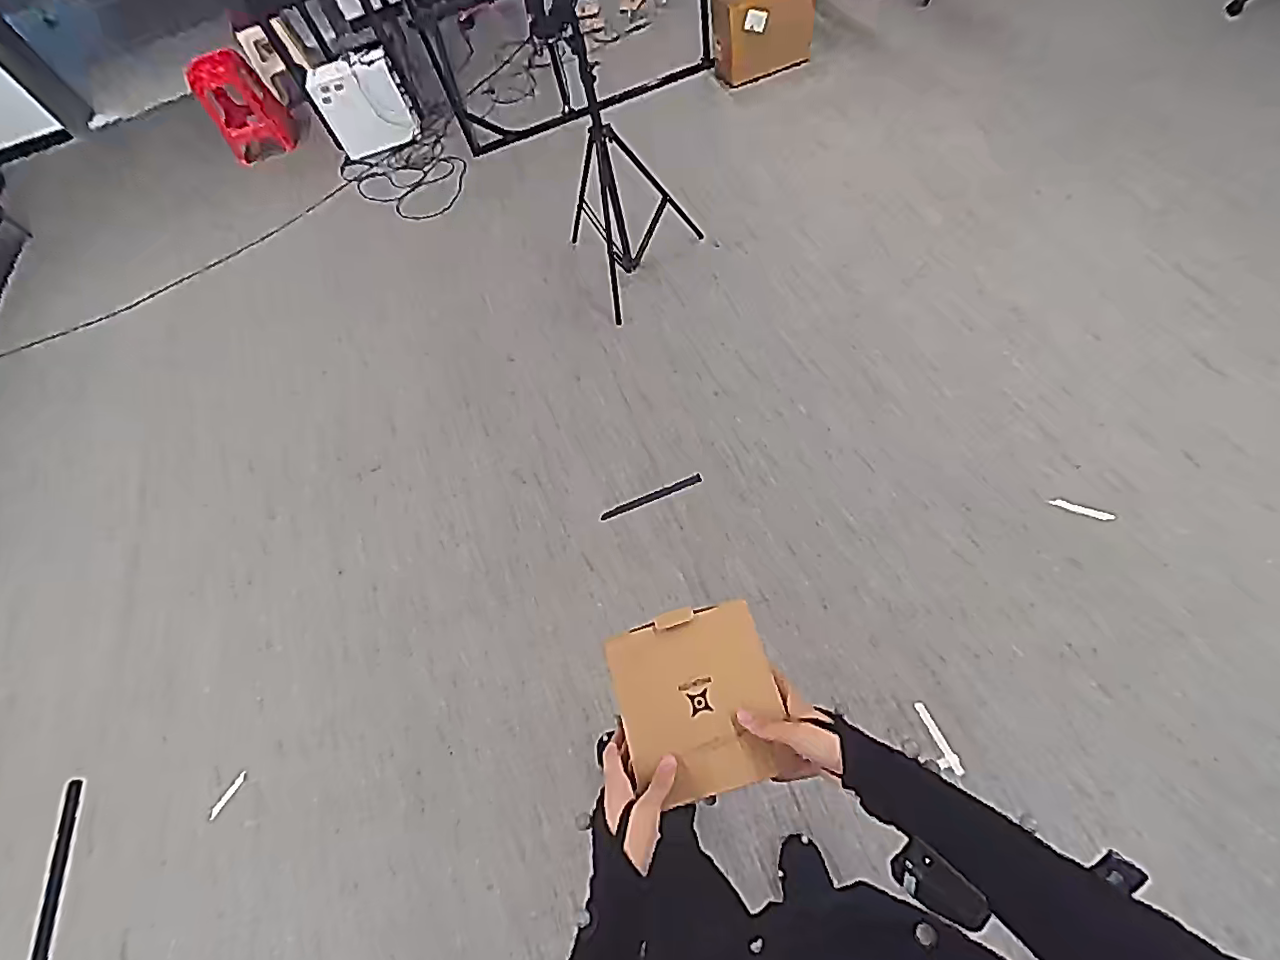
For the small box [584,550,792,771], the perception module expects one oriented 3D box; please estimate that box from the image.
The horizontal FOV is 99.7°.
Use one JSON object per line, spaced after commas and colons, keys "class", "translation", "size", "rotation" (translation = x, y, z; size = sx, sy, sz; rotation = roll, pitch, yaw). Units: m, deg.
{"class": "small box", "translation": [0.046, 0.202, 0.595], "size": [0.168, 0.176, 0.179], "rotation": [-16, 64, -2]}
